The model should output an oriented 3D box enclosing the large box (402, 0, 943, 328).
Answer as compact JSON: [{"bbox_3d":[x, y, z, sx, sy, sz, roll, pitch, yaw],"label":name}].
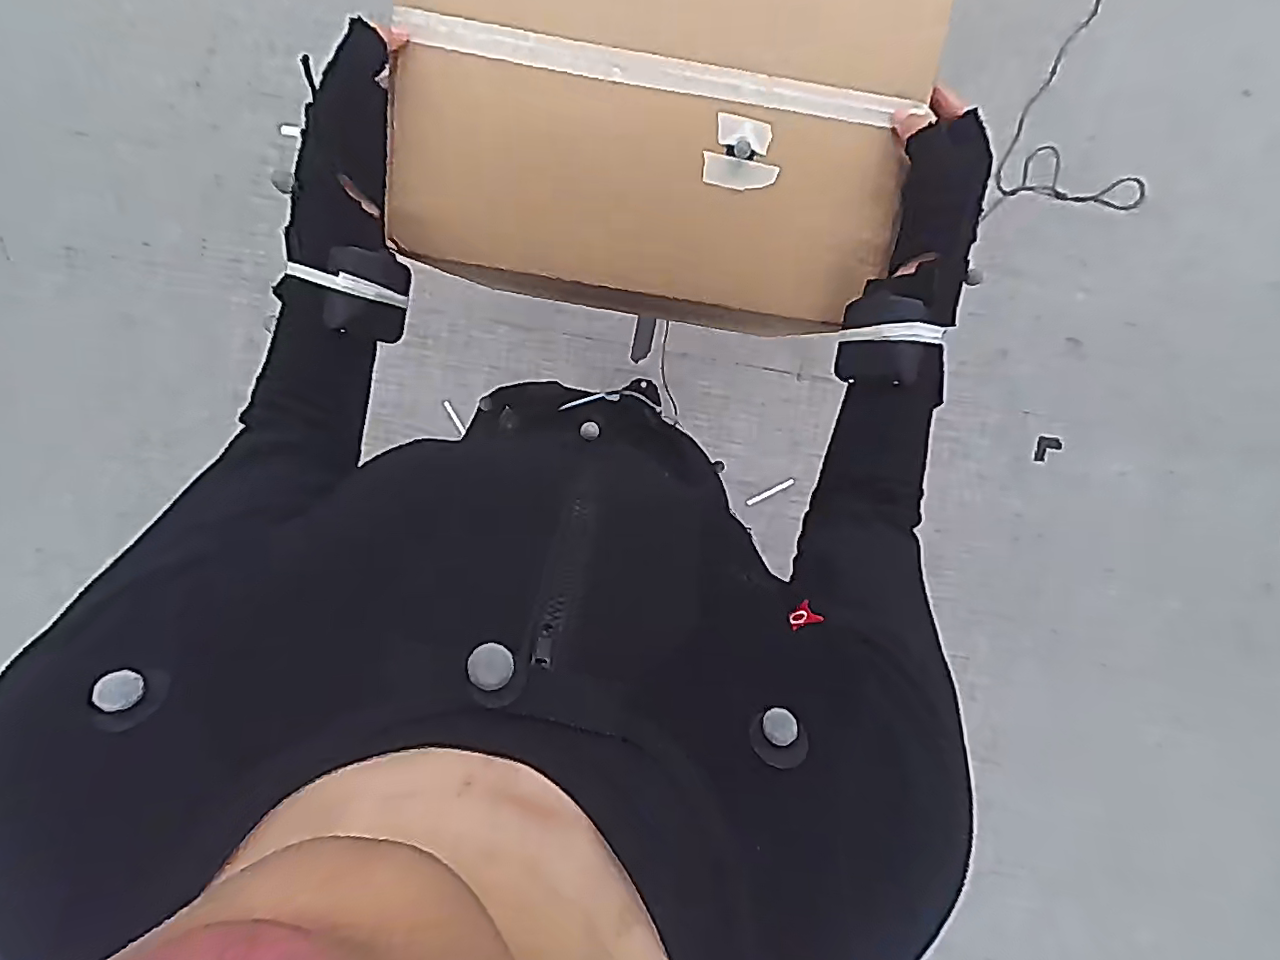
[{"bbox_3d":[0.015,-0.345,0.561,0.408,0.320,0.320,8,105,-4],"label":"large box"}]
